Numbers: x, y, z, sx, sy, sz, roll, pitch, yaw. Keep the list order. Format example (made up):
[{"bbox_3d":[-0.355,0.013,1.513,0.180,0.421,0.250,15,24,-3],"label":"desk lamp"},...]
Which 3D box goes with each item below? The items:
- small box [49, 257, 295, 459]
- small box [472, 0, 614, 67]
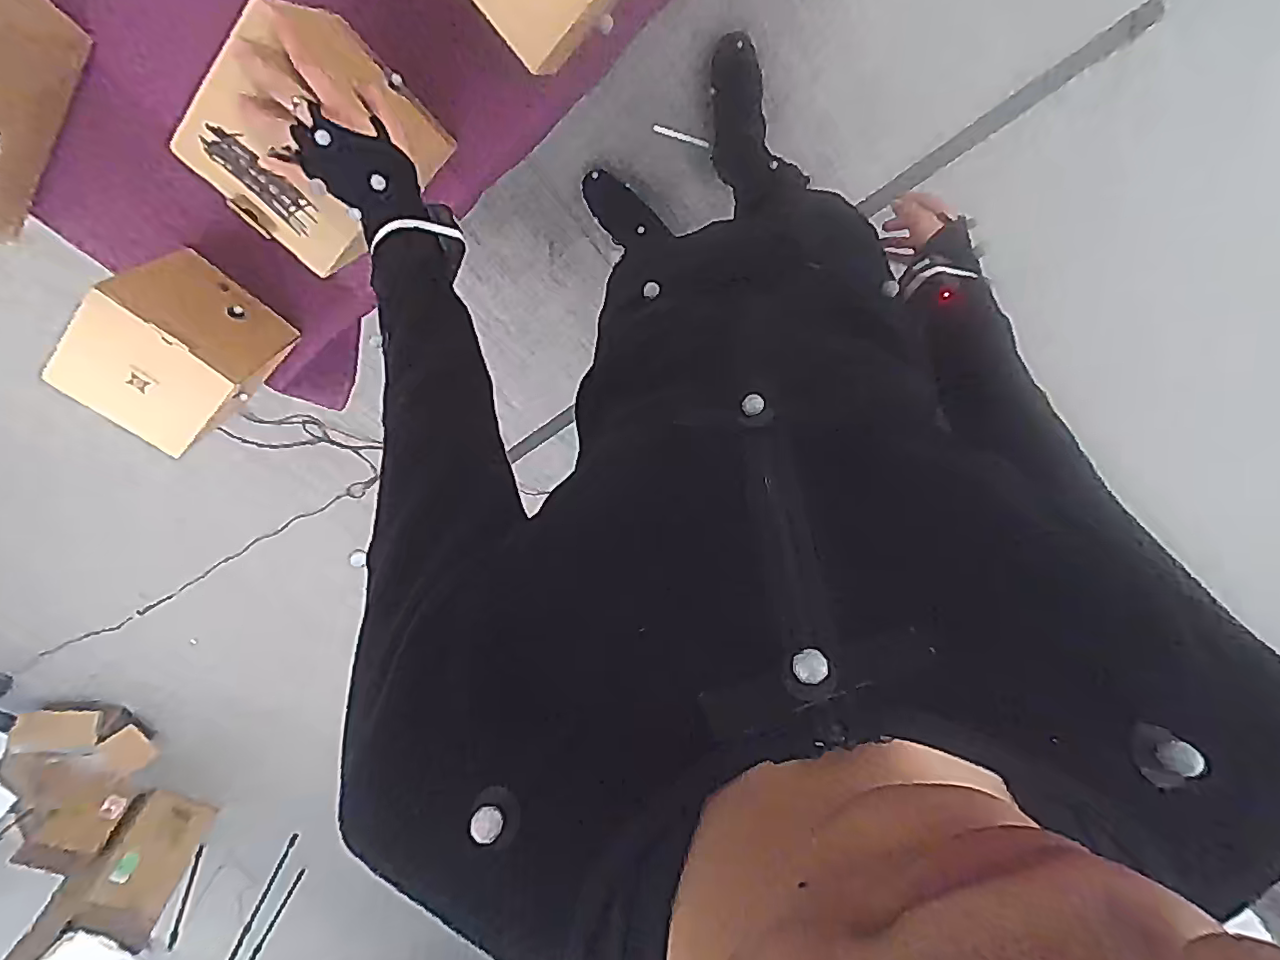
[{"bbox_3d":[-0.619,-0.169,0.739,0.179,0.176,0.168,-36,119,22],"label":"small box"},{"bbox_3d":[-0.097,-0.512,0.484,0.168,0.176,0.179,-35,120,23],"label":"small box"}]
